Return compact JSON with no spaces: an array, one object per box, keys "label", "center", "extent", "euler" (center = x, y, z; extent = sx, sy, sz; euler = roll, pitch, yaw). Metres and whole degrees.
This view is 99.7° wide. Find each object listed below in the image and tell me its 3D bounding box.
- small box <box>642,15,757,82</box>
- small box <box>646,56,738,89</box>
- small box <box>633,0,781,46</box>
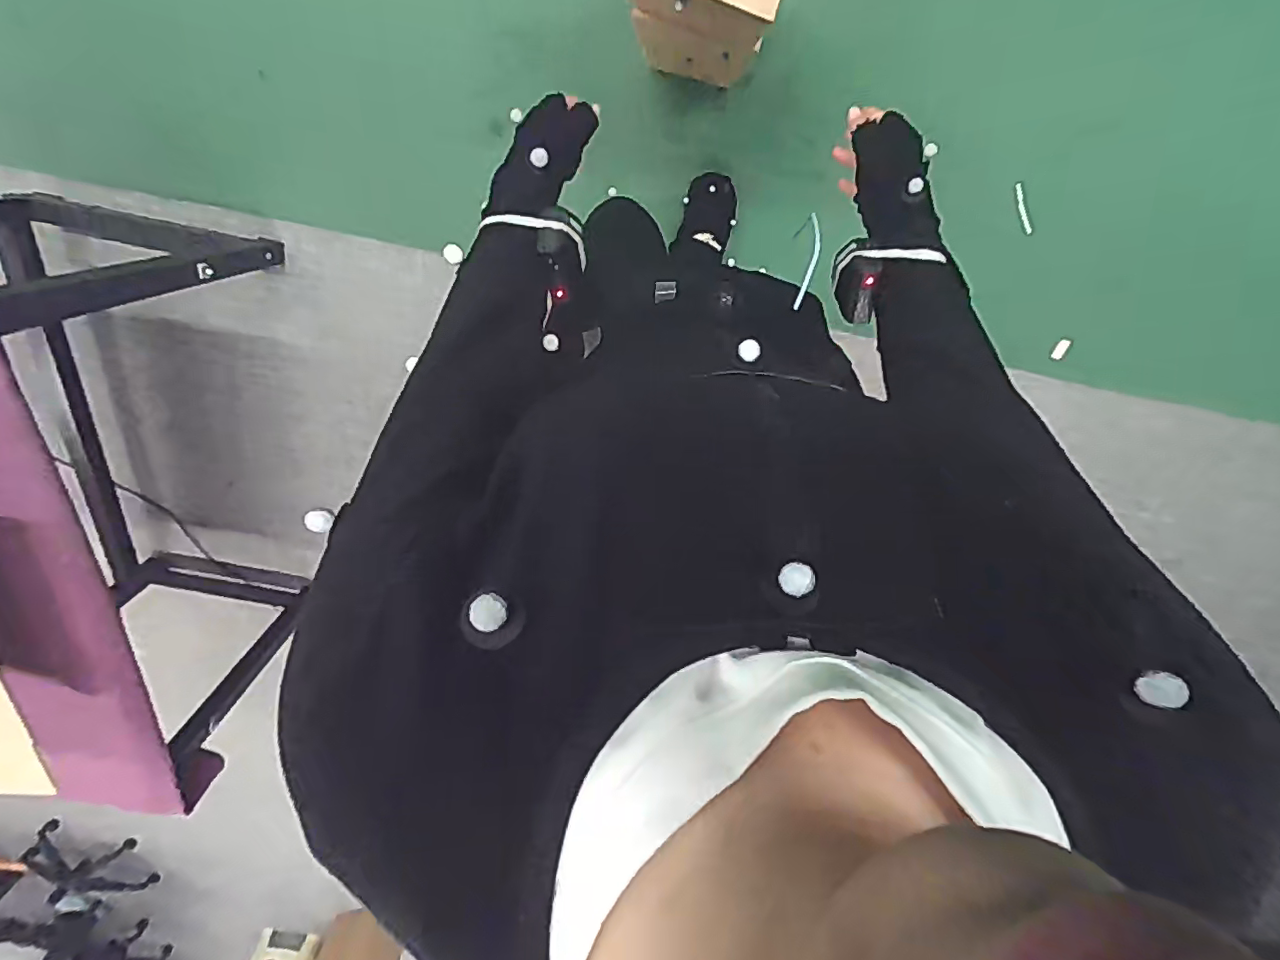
[{"label":"small box","center":[0.108,-0.770,0.877],"extent":[0.179,0.176,0.168],"euler":[13,120,-4]},{"label":"small box","center":[0.115,-0.857,1.014],"extent":[0.179,0.176,0.168],"euler":[12,119,-5]},{"label":"small box","center":[0.086,-0.610,0.591],"extent":[0.179,0.176,0.168],"euler":[15,119,-4]}]
